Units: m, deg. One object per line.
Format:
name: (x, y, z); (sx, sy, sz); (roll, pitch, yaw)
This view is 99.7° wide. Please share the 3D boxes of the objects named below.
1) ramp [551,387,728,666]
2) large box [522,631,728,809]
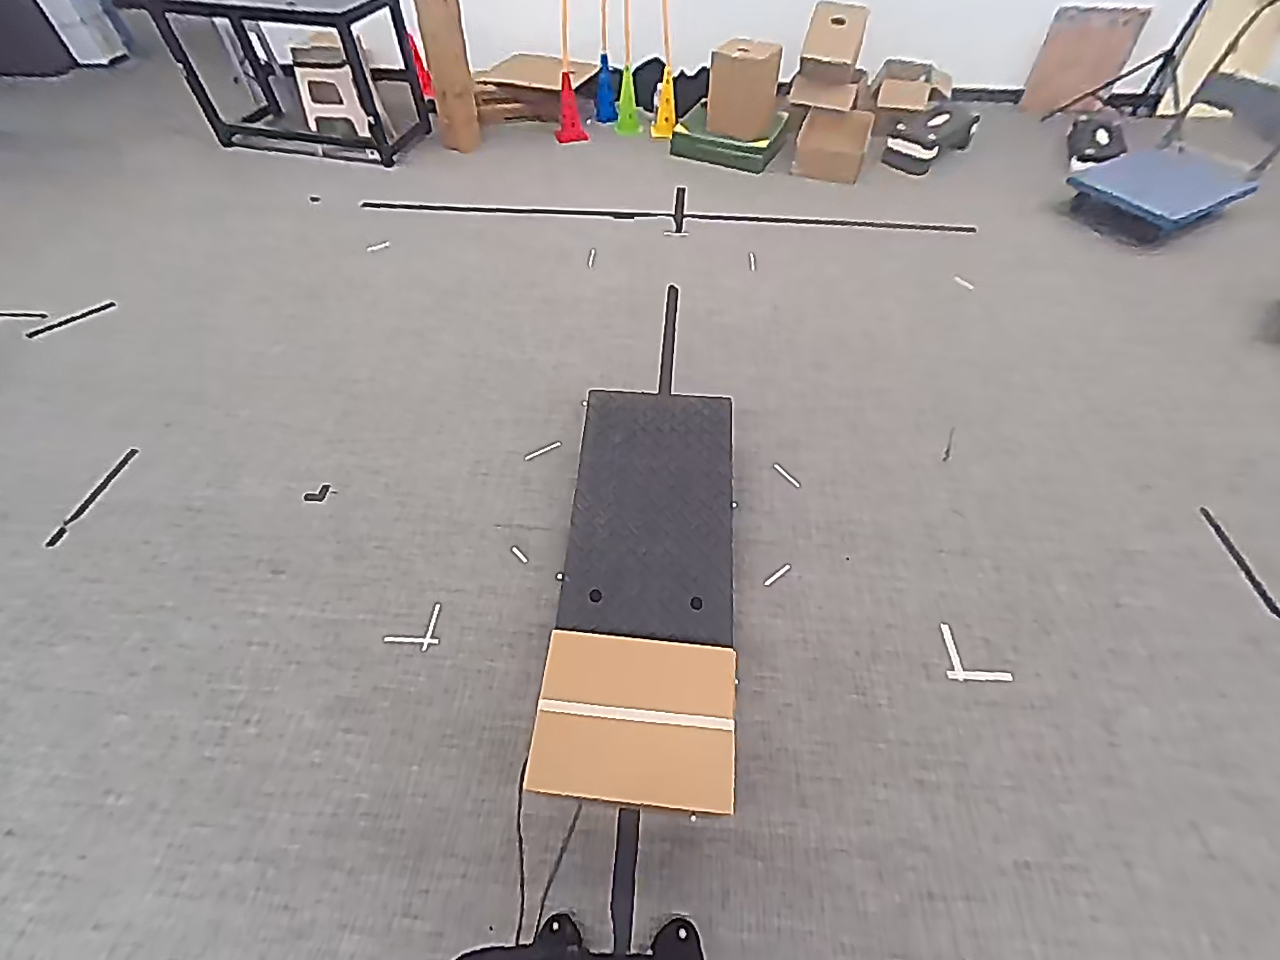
ramp: (0.023, 0.144, 1.634); (0.509, 0.206, 0.991); (4, 53, -1)
large box: (-0.020, 0.556, 1.237); (0.408, 0.320, 0.320); (6, 57, 2)
